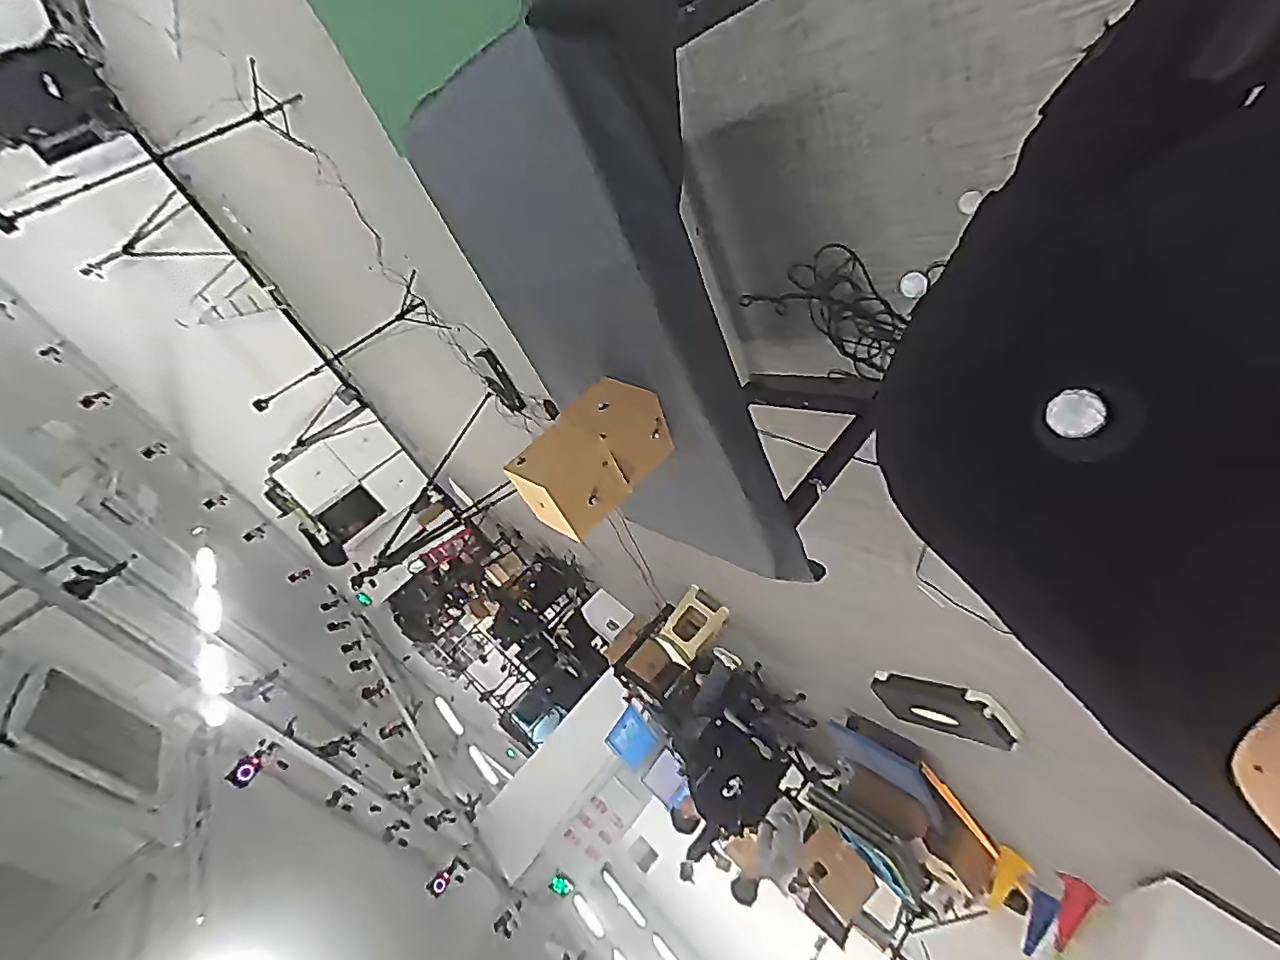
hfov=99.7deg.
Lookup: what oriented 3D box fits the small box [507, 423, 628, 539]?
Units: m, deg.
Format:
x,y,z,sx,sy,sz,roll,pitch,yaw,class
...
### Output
x,y,z,sx,sy,sz,roll,pitch,yaw,class
-0.147,-0.005,1.173,0.179,0.176,0.168,19,147,47,small box
